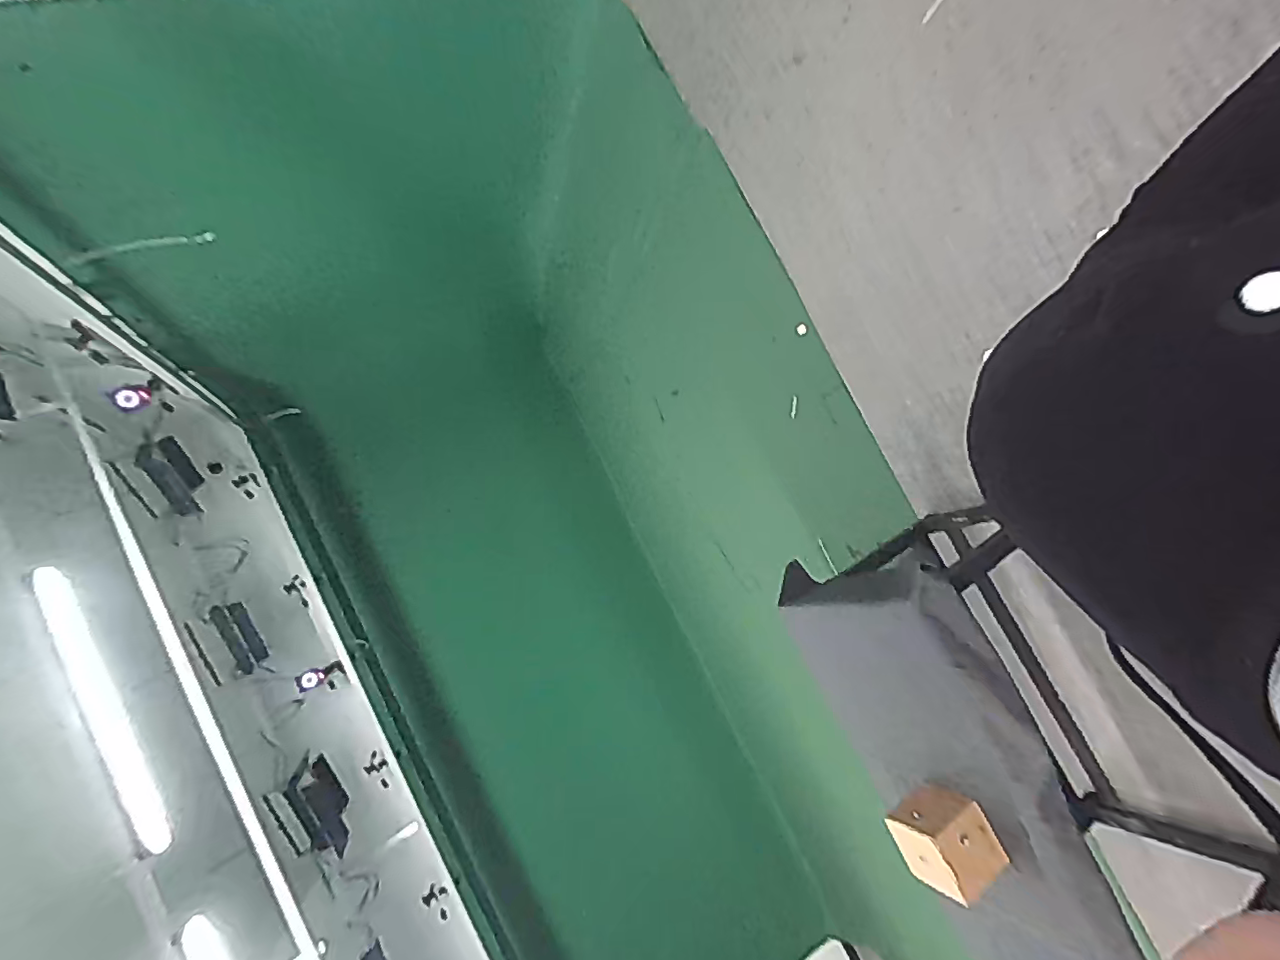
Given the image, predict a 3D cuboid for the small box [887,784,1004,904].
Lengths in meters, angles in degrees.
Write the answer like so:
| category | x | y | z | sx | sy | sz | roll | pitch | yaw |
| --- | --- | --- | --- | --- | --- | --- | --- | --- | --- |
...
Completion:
| category | x | y | z | sx | sy | sz | roll | pitch | yaw |
| --- | --- | --- | --- | --- | --- | --- | --- | --- | --- |
| small box | 0.787 | 0.918 | 1.387 | 0.168 | 0.176 | 0.179 | 64 | 160 | 6 |
